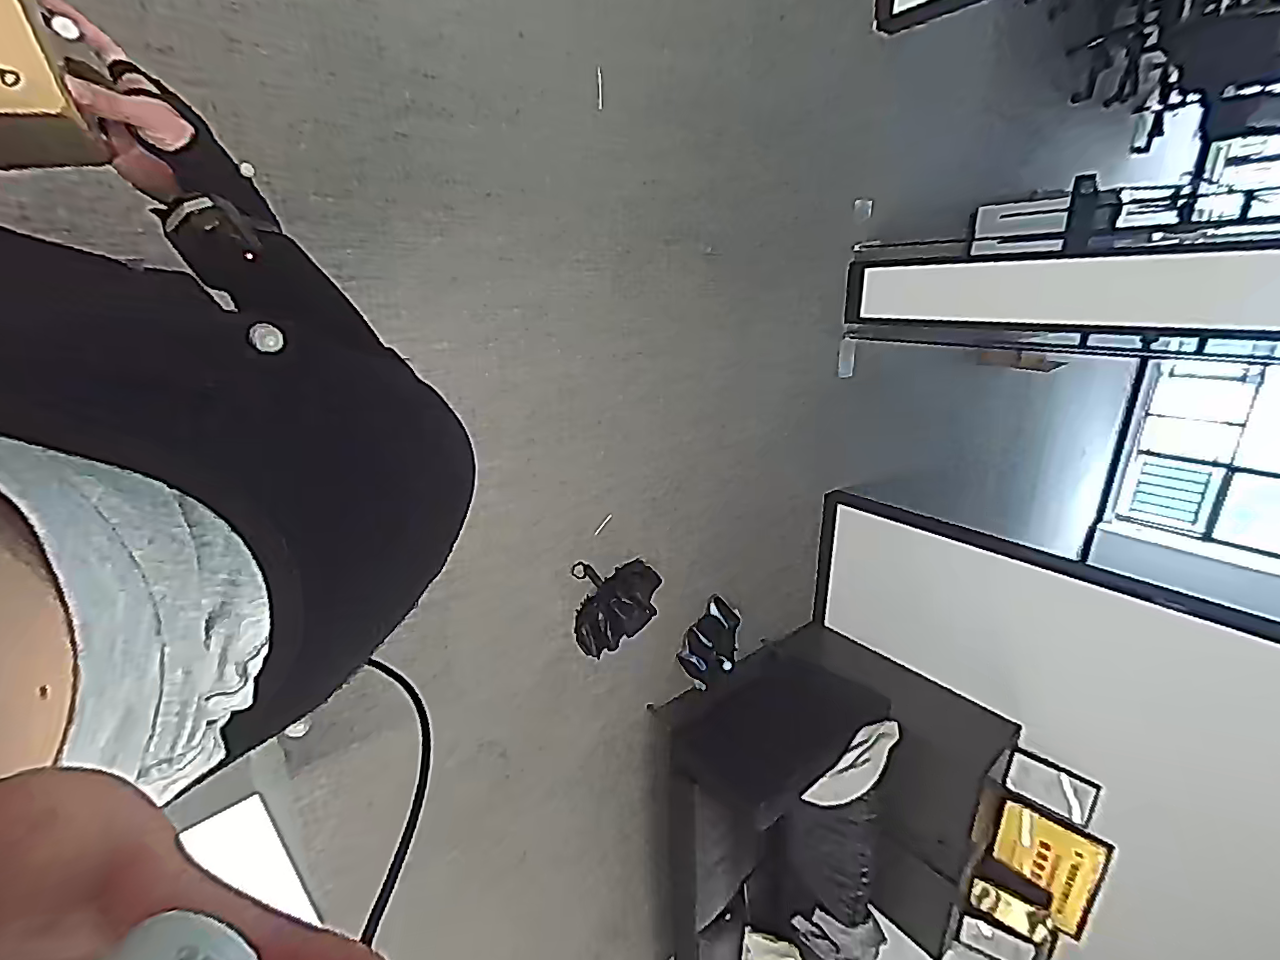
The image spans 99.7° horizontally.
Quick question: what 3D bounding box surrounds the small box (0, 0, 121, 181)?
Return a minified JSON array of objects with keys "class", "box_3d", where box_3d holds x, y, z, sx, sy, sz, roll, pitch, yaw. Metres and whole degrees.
[{"class":"small box","box_3d":[-0.490,-0.306,0.349,0.168,0.176,0.179,-24,118,-29]}]
